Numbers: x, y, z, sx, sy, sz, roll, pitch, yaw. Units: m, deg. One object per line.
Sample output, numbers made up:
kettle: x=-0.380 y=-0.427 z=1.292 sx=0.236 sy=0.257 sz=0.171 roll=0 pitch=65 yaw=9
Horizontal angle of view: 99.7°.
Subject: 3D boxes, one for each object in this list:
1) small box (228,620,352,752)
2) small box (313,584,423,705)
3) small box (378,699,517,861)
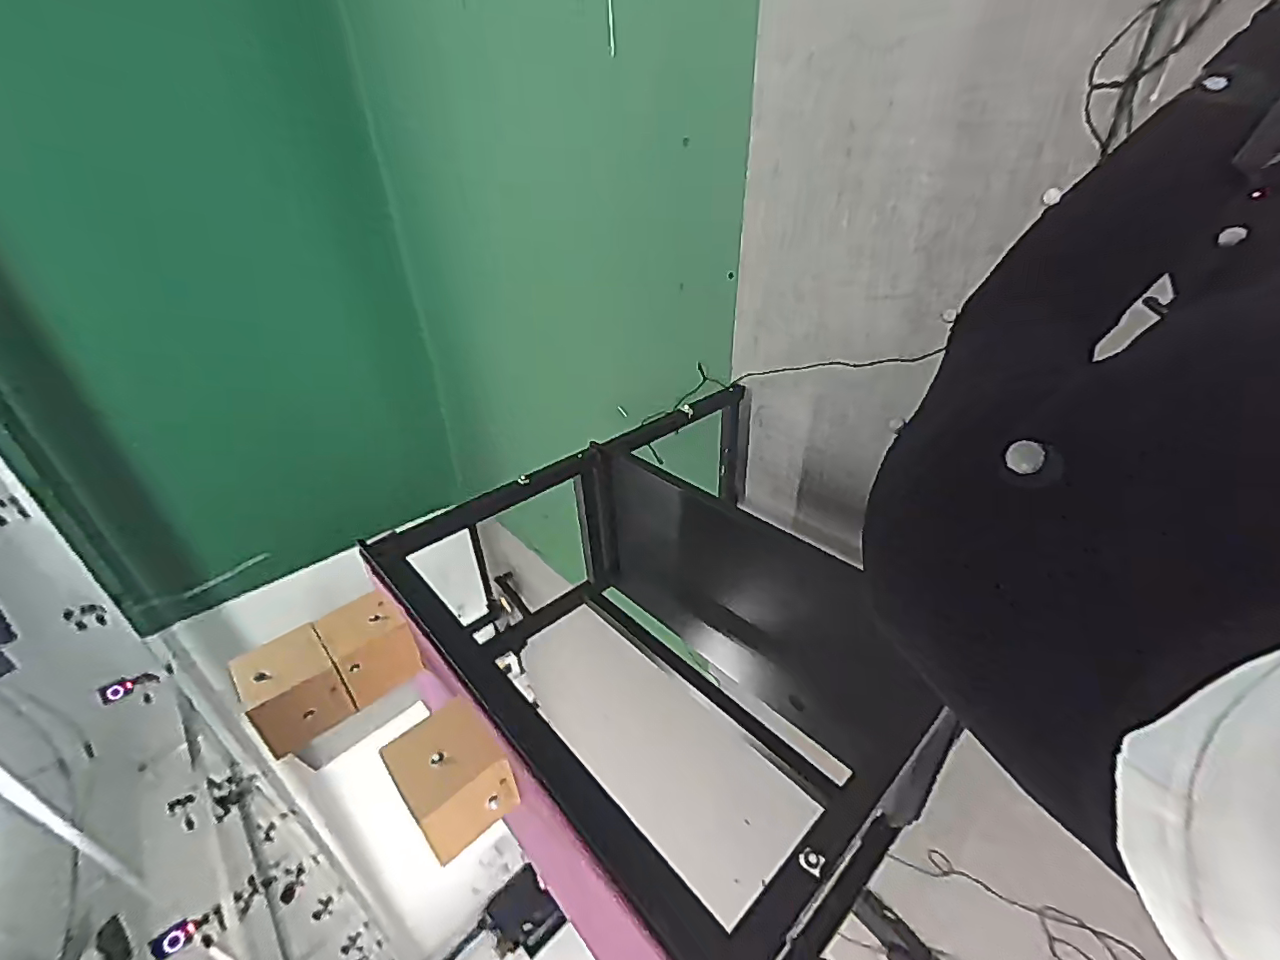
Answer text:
small box: x=-0.757 y=0.441 z=1.184 sx=0.179 sy=0.176 sz=0.168 roll=29 pitch=132 yaw=39
small box: x=-0.639 y=0.385 z=1.286 sx=0.168 sy=0.176 sz=0.179 roll=30 pitch=133 yaw=39
small box: x=-0.351 y=0.540 z=1.003 sx=0.179 sy=0.176 sz=0.168 roll=30 pitch=135 yaw=38
